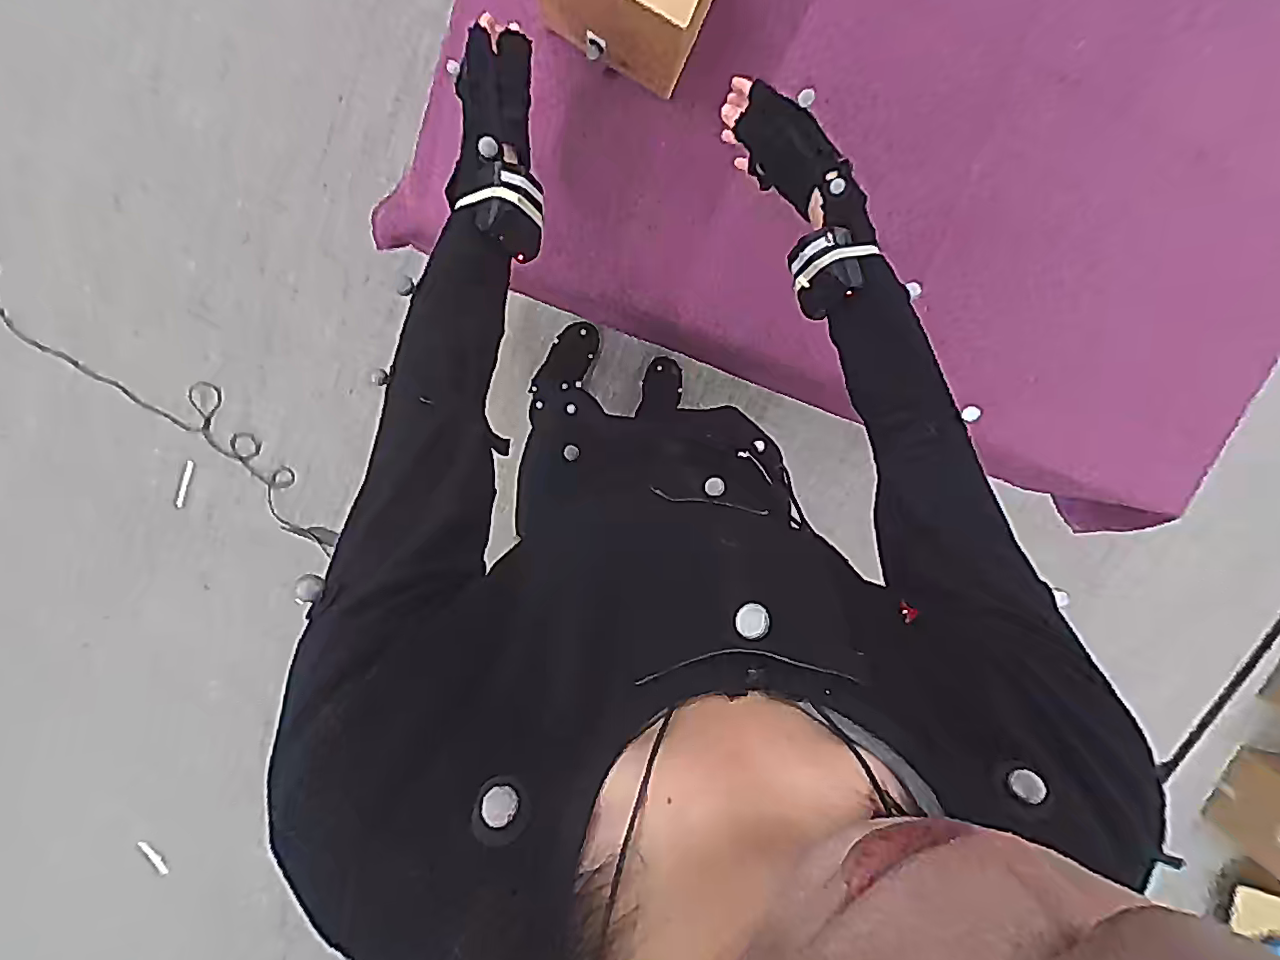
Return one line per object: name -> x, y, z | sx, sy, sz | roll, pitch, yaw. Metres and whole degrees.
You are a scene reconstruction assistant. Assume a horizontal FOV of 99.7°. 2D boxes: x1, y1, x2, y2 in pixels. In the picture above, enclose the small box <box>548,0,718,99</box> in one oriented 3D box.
small box -> 0.006, -0.544, 0.549 | 0.168, 0.176, 0.179 | 25, 103, -8
